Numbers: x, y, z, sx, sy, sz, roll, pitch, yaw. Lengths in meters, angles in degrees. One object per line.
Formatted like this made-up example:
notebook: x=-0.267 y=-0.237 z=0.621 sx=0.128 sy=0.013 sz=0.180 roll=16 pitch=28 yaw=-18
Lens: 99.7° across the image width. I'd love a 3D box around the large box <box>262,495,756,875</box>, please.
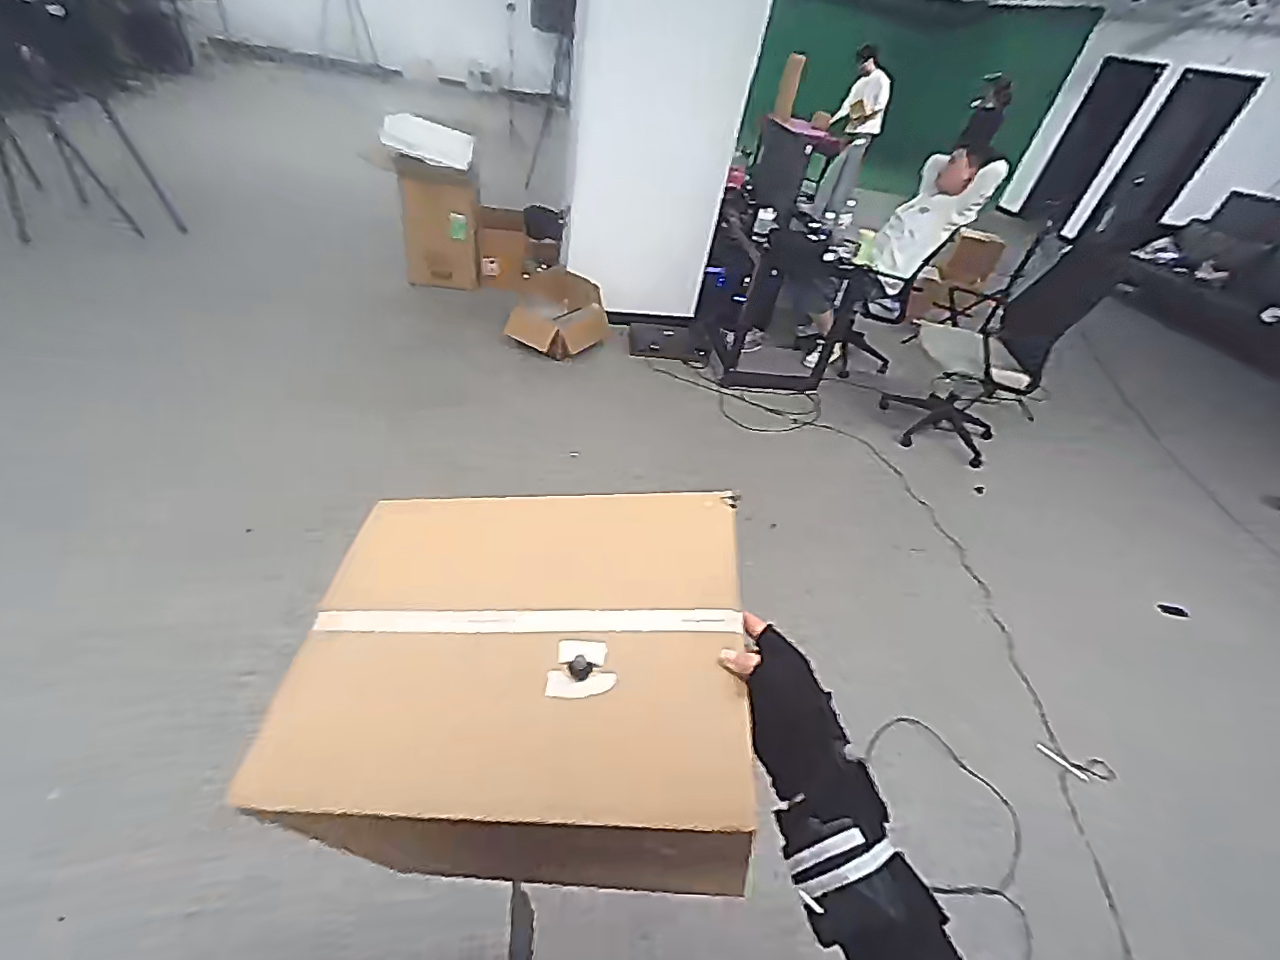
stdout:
large box: x=-0.089 y=0.235 z=0.623 sx=0.408 sy=0.320 sz=0.320 roll=-1 pitch=47 yaw=7
